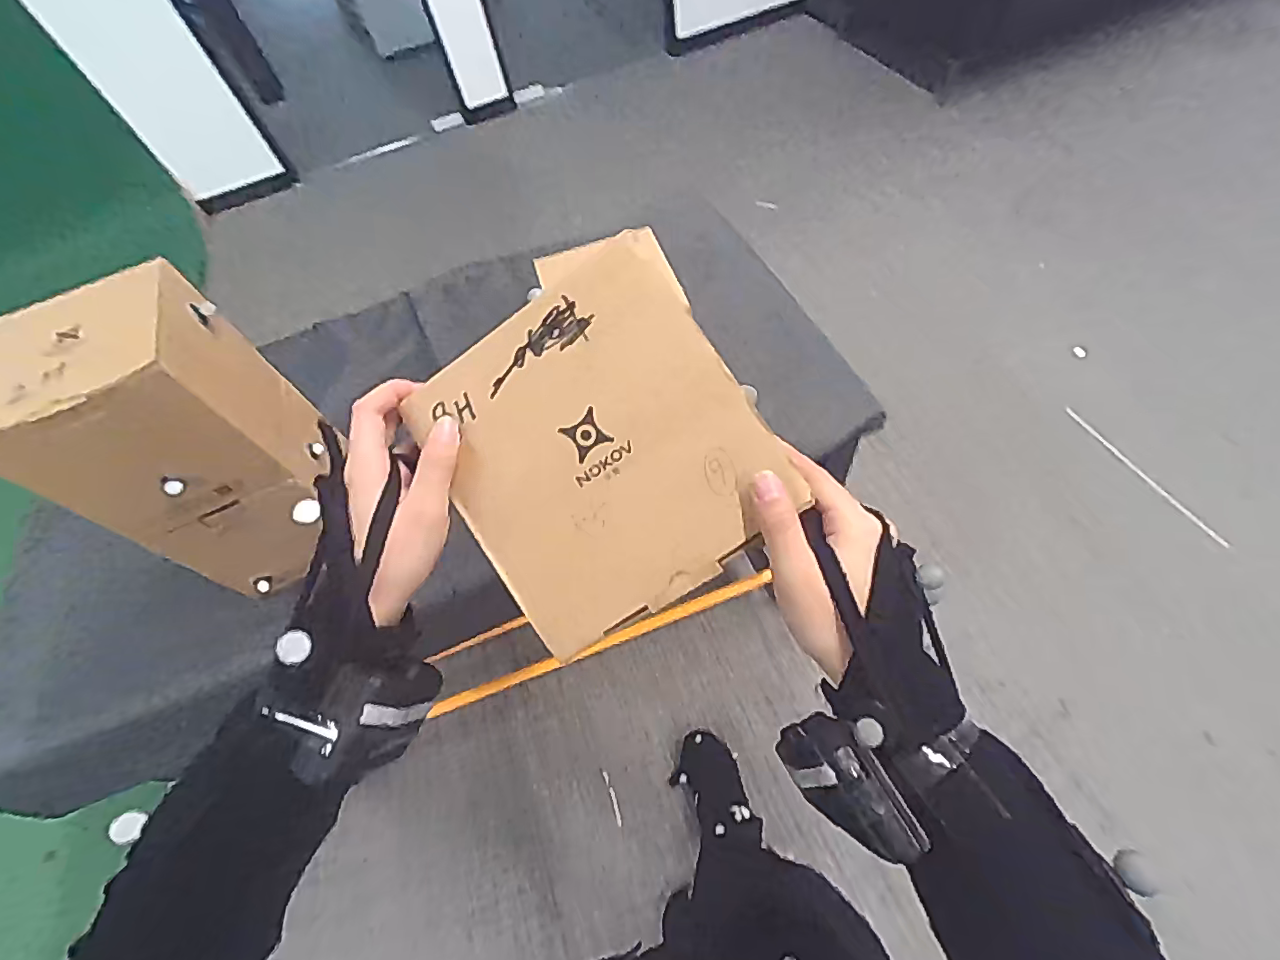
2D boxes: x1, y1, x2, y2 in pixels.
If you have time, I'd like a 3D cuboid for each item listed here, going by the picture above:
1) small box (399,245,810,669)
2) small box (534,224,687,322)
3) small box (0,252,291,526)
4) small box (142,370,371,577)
[{"bbox_3d":[-0.011,-0.013,0.367,0.168,0.176,0.179,-34,86,9],"label":"small box"},{"bbox_3d":[-0.032,-0.211,0.745,0.168,0.176,0.179,-17,57,-3],"label":"small box"},{"bbox_3d":[-0.487,-0.085,0.542,0.168,0.176,0.179,-27,58,-7],"label":"small box"},{"bbox_3d":[-0.465,0.003,0.679,0.168,0.176,0.179,-24,57,-7],"label":"small box"}]
